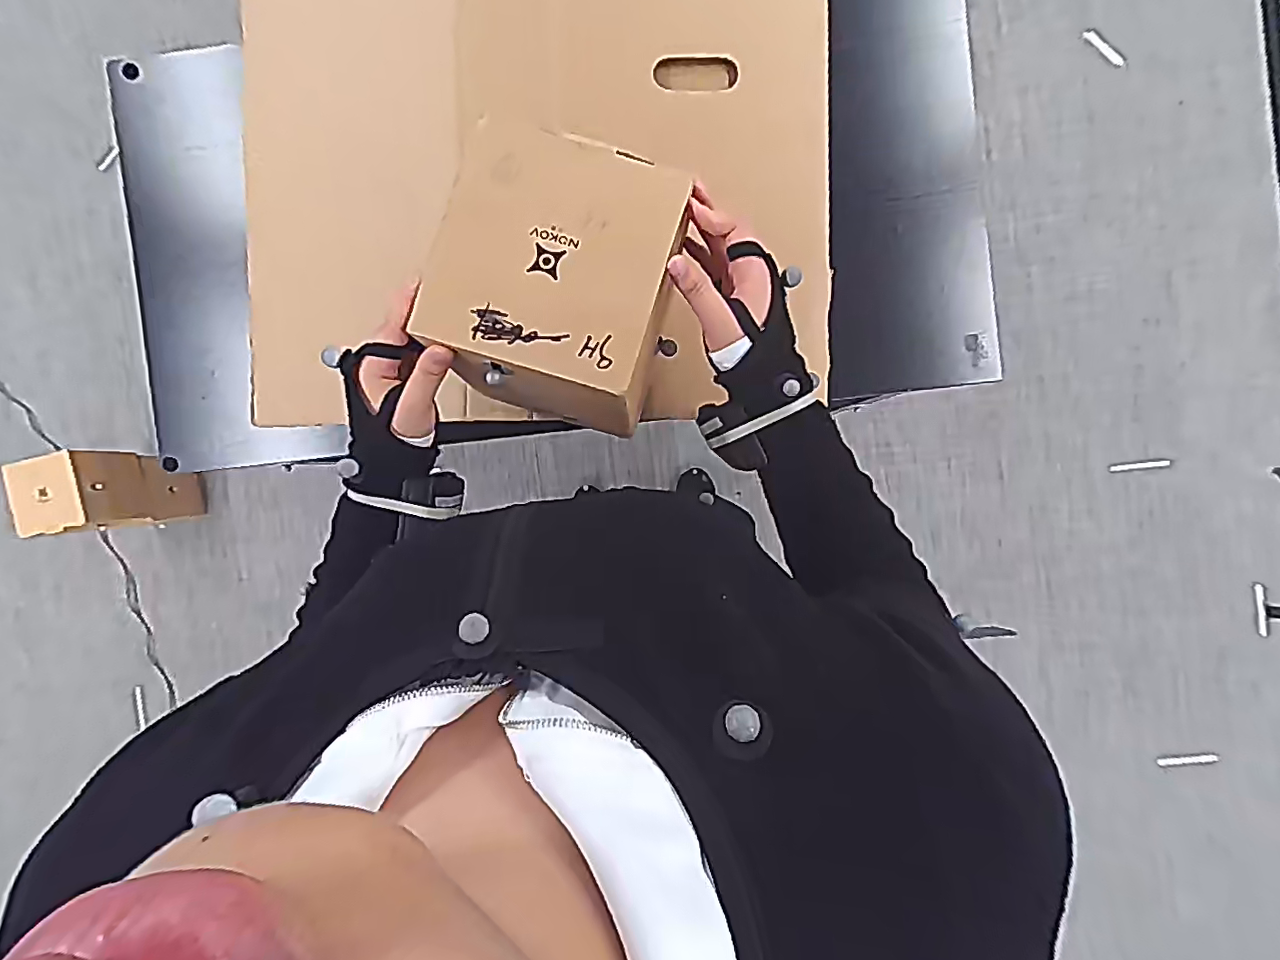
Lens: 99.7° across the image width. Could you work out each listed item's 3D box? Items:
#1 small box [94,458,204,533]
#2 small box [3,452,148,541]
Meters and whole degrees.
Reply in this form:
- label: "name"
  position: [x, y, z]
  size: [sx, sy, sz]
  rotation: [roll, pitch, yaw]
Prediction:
- label: "small box"
  position: [-1.343, 0.039, 1.472]
  size: [0.168, 0.176, 0.179]
  rotation: [-10, 91, 3]
- label: "small box"
  position: [-1.352, 0.037, 1.310]
  size: [0.168, 0.176, 0.179]
  rotation: [-13, 89, 2]
